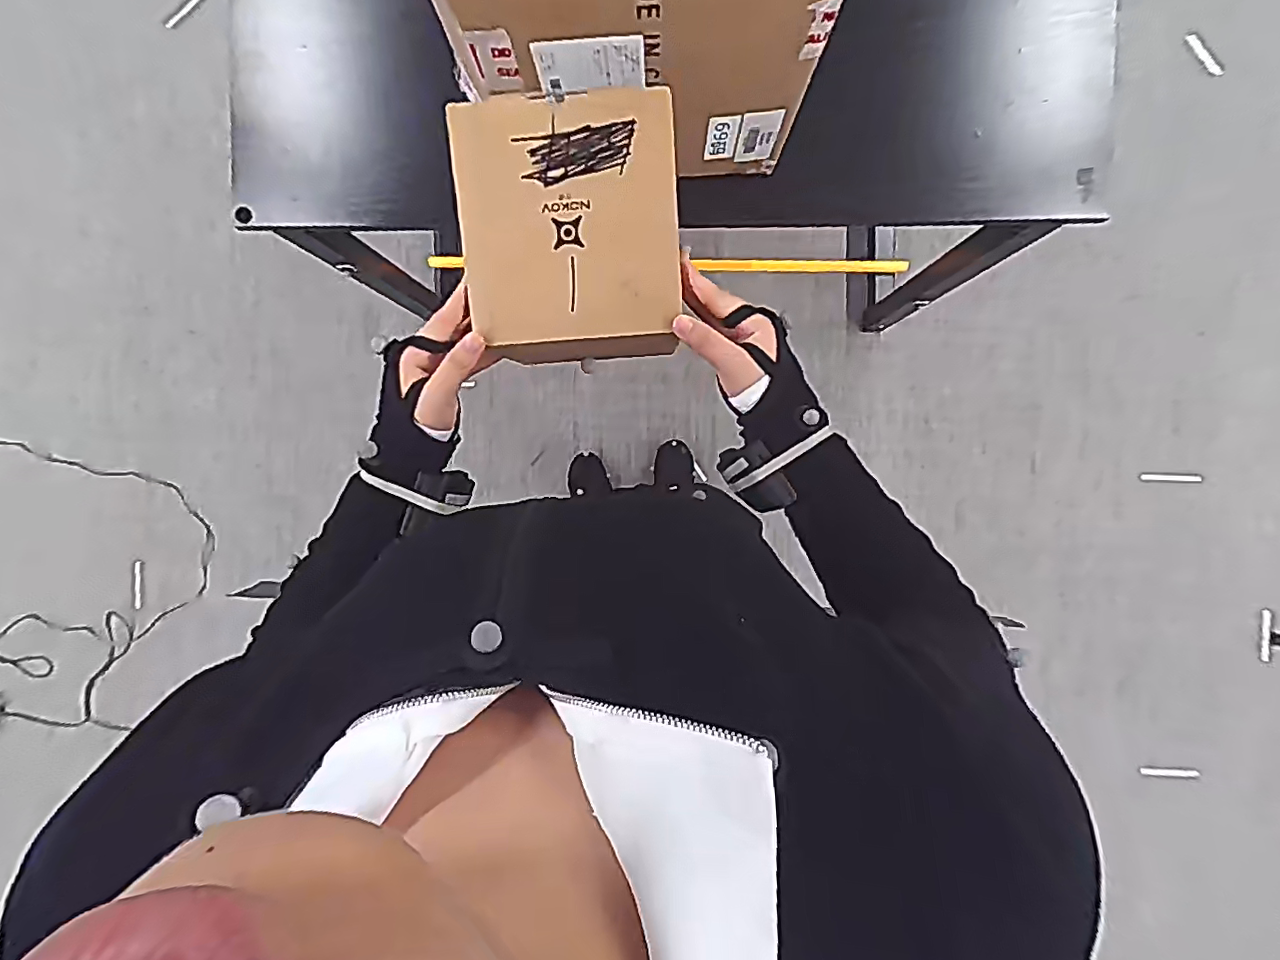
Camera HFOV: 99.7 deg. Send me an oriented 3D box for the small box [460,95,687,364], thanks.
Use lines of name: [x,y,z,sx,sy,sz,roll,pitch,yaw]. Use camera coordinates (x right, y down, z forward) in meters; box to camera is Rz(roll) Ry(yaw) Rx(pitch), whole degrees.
small box: [-0.048,-0.204,0.487,0.168,0.176,0.179,-3,98,1]
